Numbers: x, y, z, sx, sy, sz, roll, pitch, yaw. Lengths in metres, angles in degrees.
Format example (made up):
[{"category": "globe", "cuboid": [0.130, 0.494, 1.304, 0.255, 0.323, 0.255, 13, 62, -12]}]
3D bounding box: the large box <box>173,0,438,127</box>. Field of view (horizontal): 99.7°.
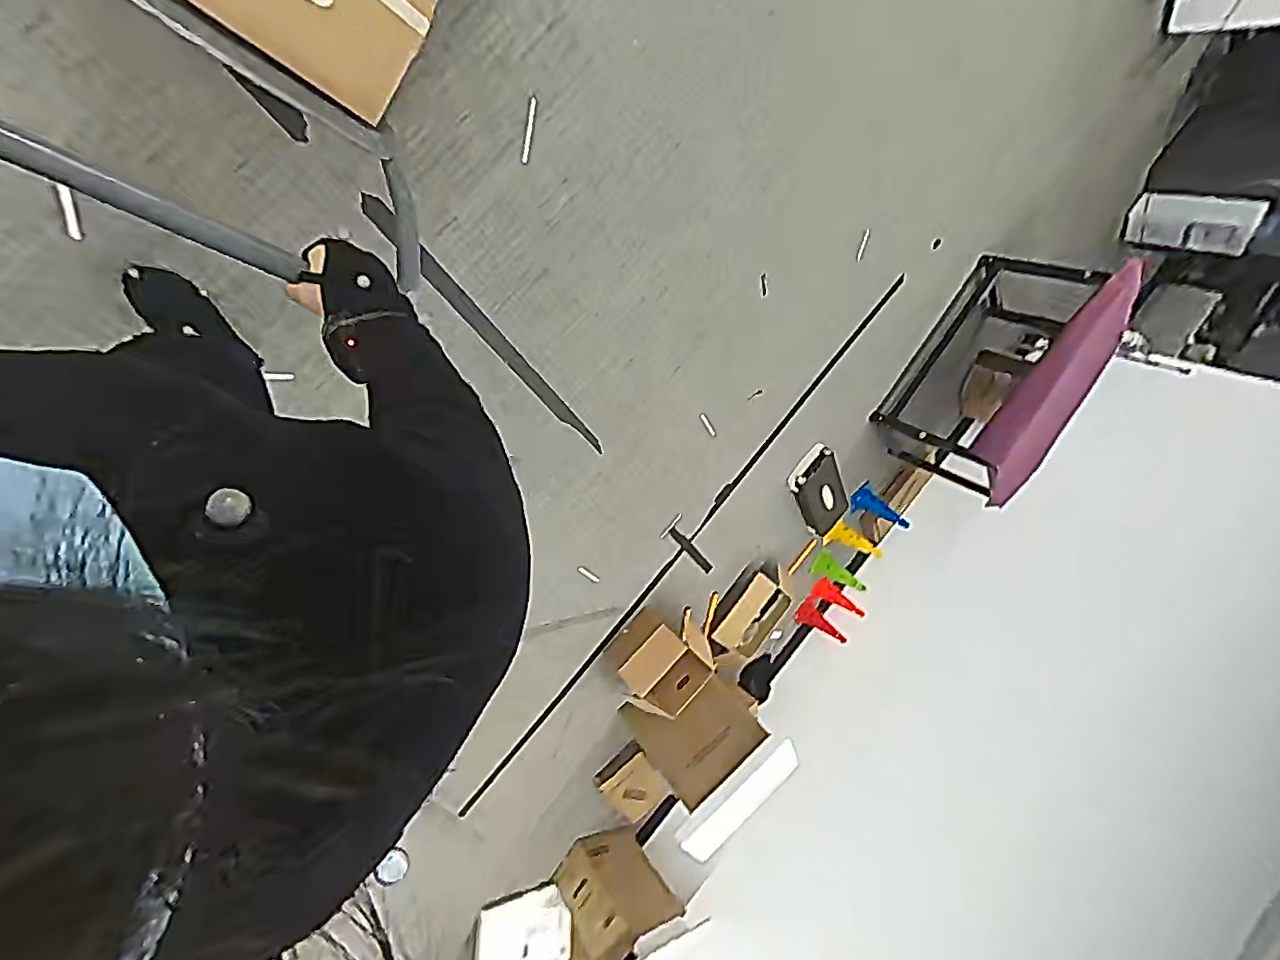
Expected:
[{"category": "large box", "cuboid": [-0.495, -0.773, 0.687, 0.320, 0.320, 0.408, -44, 145, 23]}]
